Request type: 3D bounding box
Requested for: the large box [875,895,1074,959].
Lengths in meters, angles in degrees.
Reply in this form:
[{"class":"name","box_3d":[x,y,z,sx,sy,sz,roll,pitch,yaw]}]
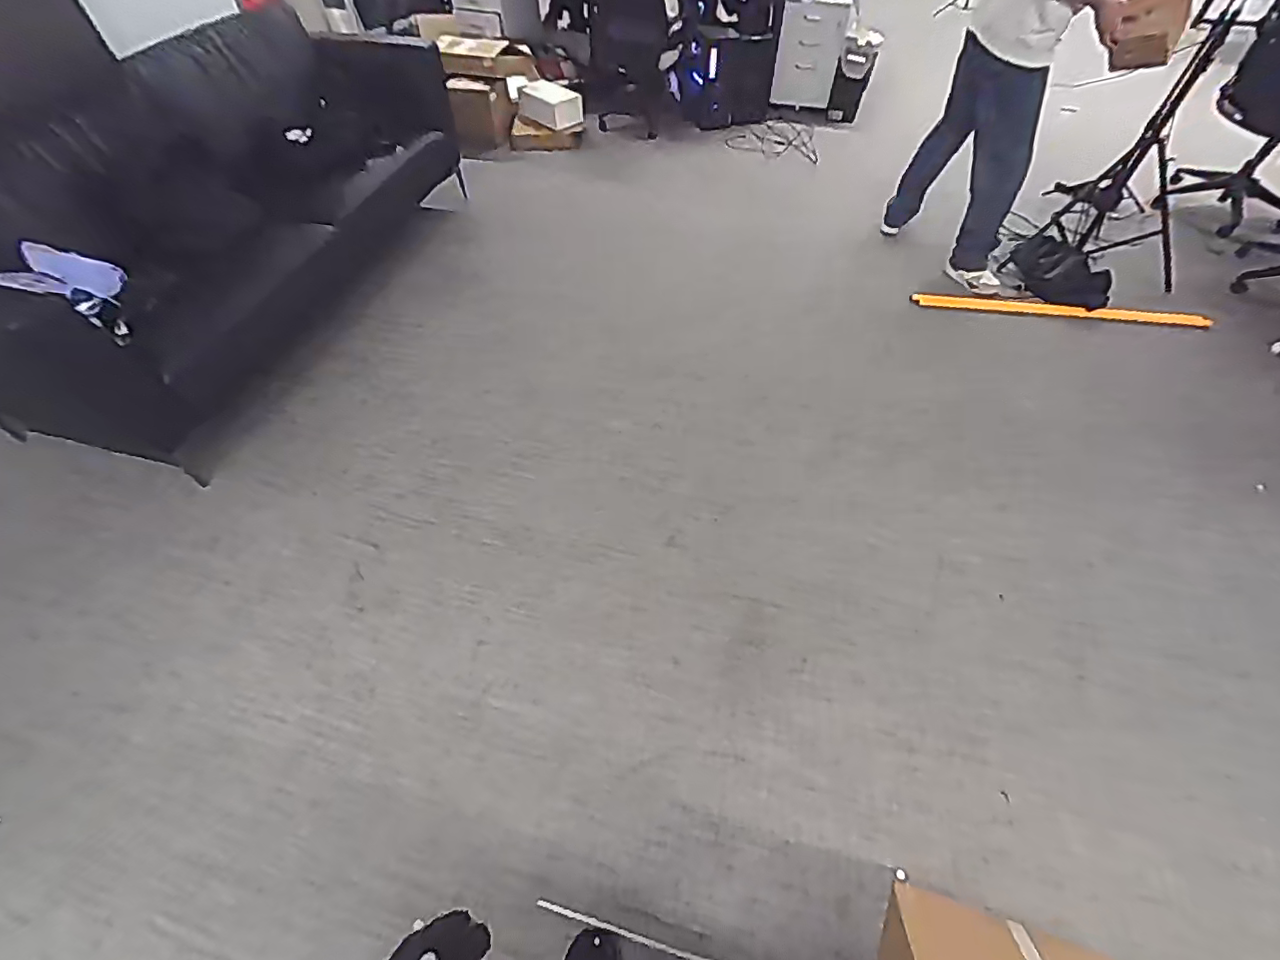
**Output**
[{"class":"large box","box_3d":[0.432,0.785,0.575,0.320,0.408,0.320,13,91,15]}]
